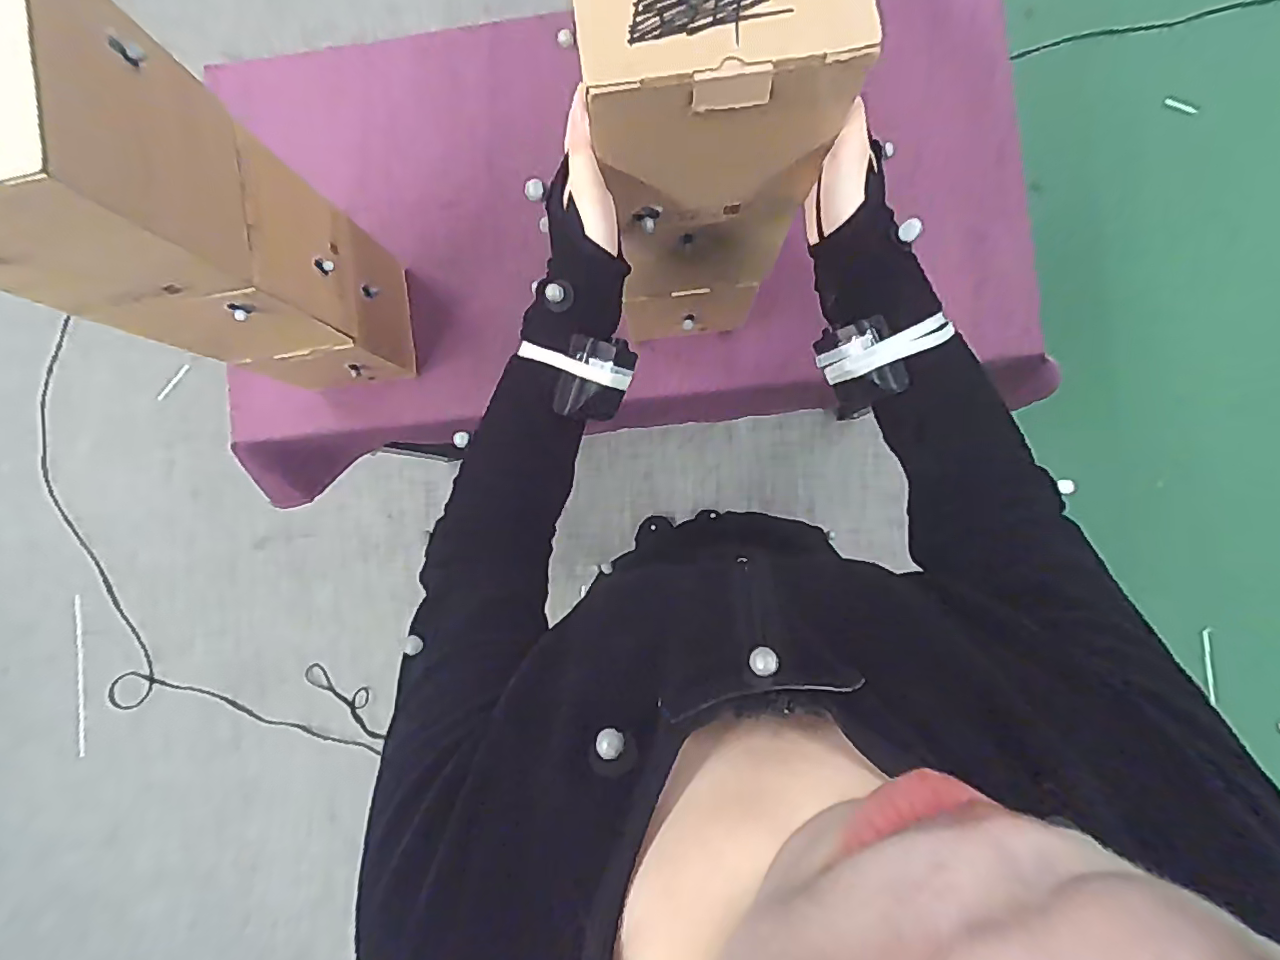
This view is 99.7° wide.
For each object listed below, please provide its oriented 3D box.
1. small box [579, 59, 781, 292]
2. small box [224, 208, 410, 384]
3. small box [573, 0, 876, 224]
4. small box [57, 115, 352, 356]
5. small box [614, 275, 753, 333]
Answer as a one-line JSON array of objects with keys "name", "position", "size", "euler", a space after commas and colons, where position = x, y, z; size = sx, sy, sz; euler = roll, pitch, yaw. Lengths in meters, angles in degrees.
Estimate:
[{"name": "small box", "position": [0.044, -0.307, 0.552], "size": [0.179, 0.176, 0.168], "euler": [-6, 88, 3]}, {"name": "small box", "position": [-0.435, -0.236, 0.741], "size": [0.168, 0.176, 0.179], "euler": [-7, 87, 2]}, {"name": "small box", "position": [0.041, -0.303, 0.381], "size": [0.168, 0.176, 0.179], "euler": [-8, 87, 0]}, {"name": "small box", "position": [-0.447, -0.242, 0.580], "size": [0.179, 0.176, 0.168], "euler": [-9, 88, 1]}, {"name": "small box", "position": [0.050, -0.303, 0.717], "size": [0.168, 0.176, 0.179], "euler": [-6, 88, 3]}]
